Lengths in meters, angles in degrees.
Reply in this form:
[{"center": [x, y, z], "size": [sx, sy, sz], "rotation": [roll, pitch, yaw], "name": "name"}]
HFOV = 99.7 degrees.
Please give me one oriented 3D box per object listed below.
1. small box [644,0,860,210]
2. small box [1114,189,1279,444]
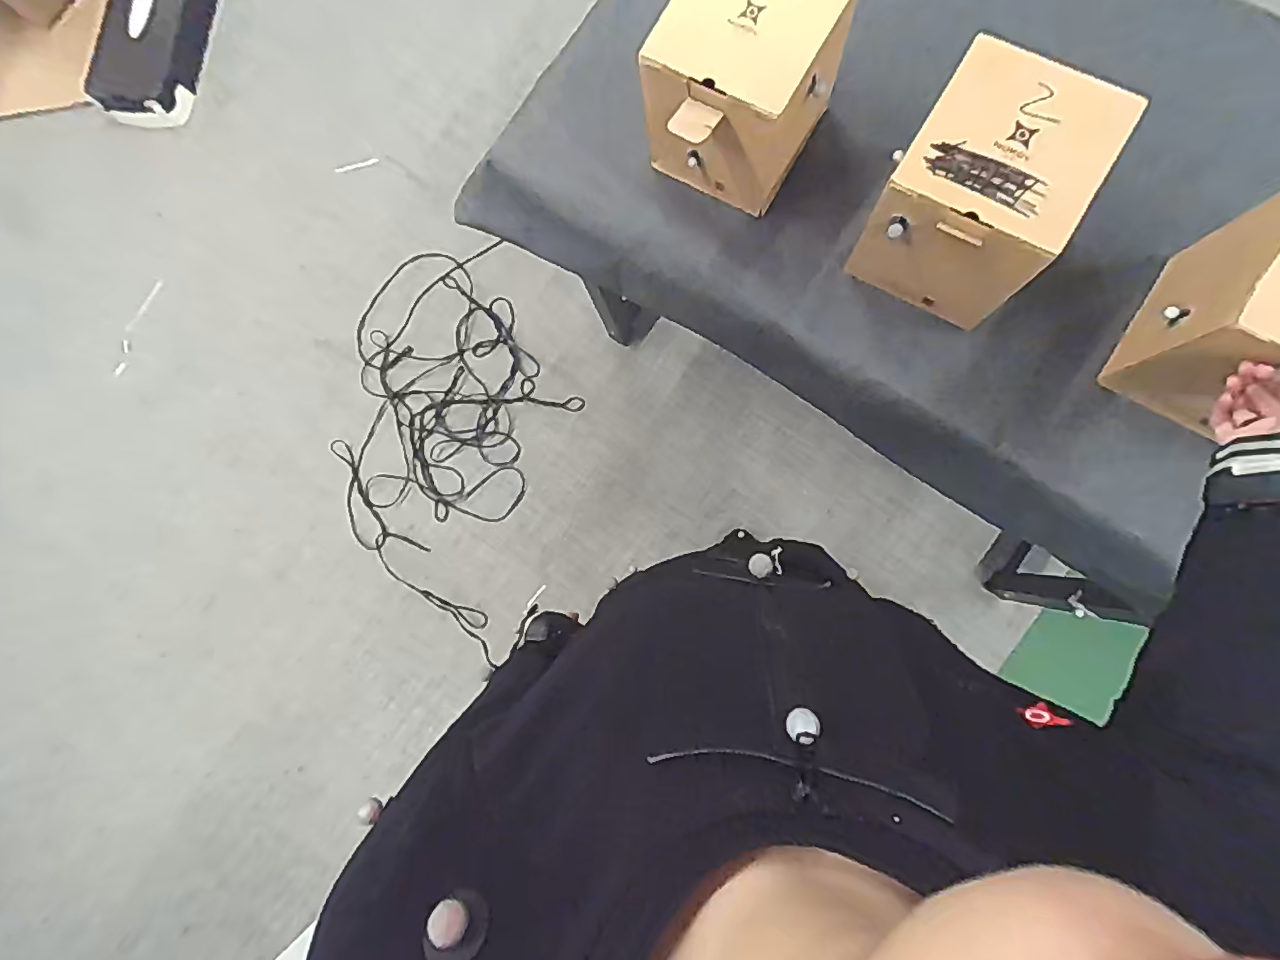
[{"center": [0.121, -0.460, 0.624], "size": [0.168, 0.176, 0.179], "rotation": [30, 88, 8], "name": "small box"}, {"center": [0.628, -0.155, 0.528], "size": [0.168, 0.176, 0.179], "rotation": [31, 87, 9], "name": "small box"}]
